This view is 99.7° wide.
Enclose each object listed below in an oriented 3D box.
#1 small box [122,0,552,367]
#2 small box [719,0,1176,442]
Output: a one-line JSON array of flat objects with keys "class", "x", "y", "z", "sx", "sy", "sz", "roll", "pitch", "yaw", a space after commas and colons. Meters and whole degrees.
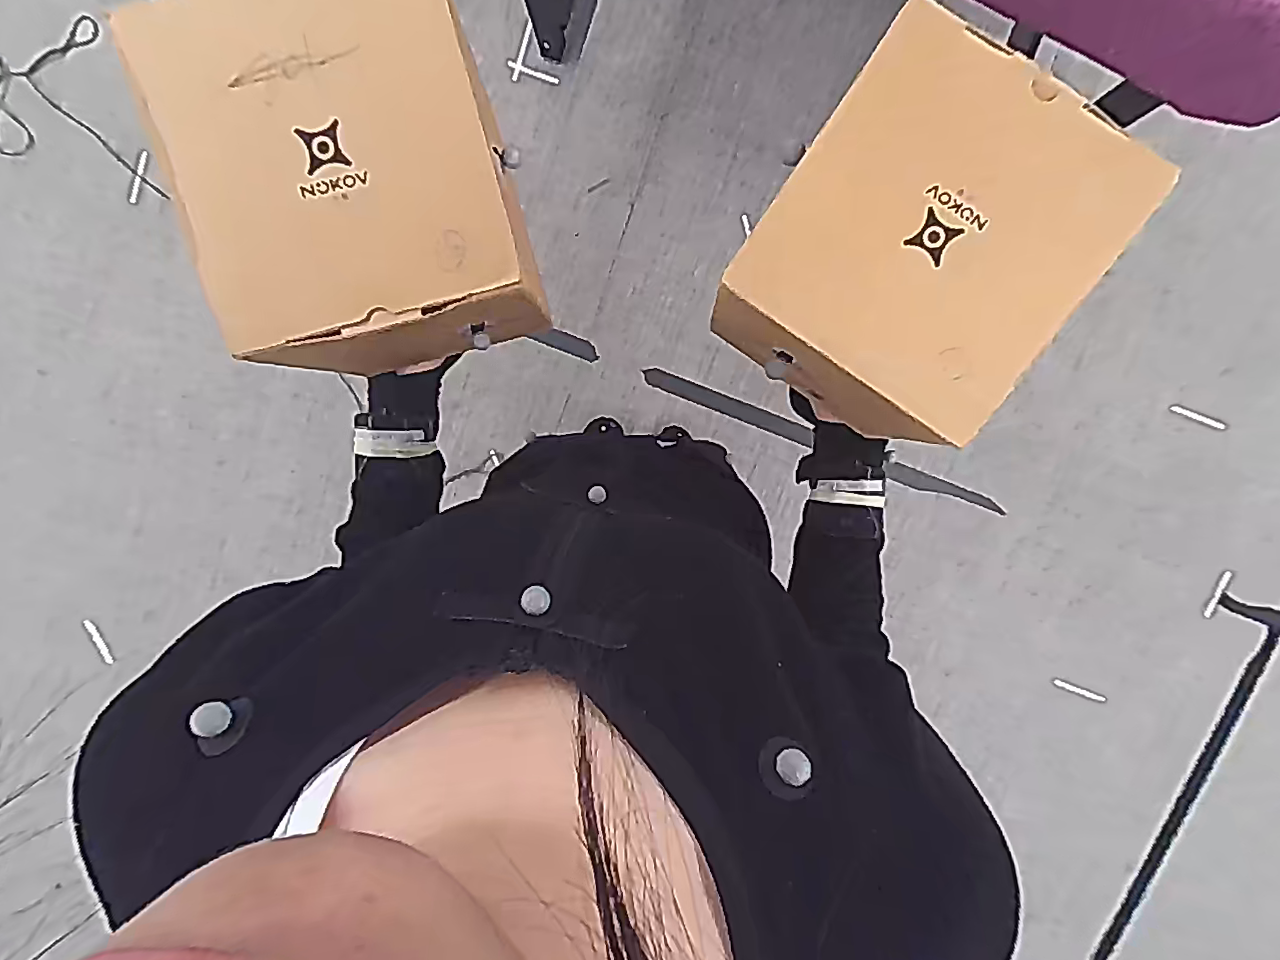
[{"class": "small box", "x": -0.164, "y": -0.179, "z": 0.362, "sx": 0.168, "sy": 0.176, "sz": 0.179, "roll": -16, "pitch": 97, "yaw": -3}, {"class": "small box", "x": 0.168, "y": -0.142, "z": 0.367, "sx": 0.168, "sy": 0.176, "sz": 0.179, "roll": 35, "pitch": 97, "yaw": 1}]
